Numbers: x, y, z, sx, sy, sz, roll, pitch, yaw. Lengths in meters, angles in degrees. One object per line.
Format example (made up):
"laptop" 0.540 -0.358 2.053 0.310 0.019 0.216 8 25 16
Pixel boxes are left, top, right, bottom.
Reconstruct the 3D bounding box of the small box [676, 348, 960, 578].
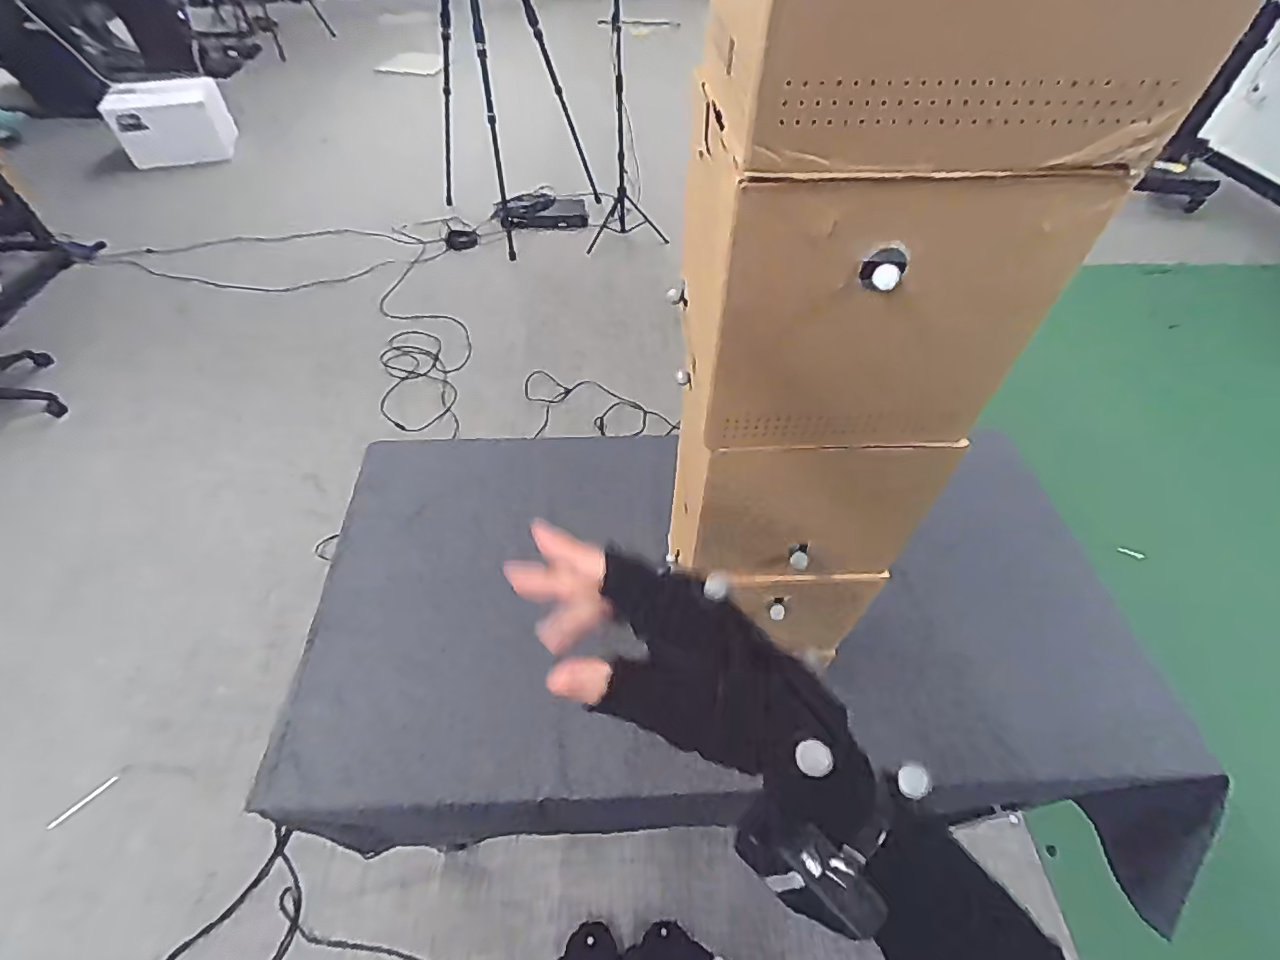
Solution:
"small box" 0.128 -0.026 0.472 0.179 0.176 0.168 0 50 -1

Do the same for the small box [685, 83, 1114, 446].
"small box" 0.123 -0.134 0.349 0.179 0.176 0.168 -1 50 -2

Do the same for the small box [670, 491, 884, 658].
"small box" 0.130 0.084 0.594 0.179 0.176 0.168 -2 50 -2

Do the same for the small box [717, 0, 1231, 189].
"small box" 0.127 -0.239 0.223 0.179 0.176 0.168 0 51 0
